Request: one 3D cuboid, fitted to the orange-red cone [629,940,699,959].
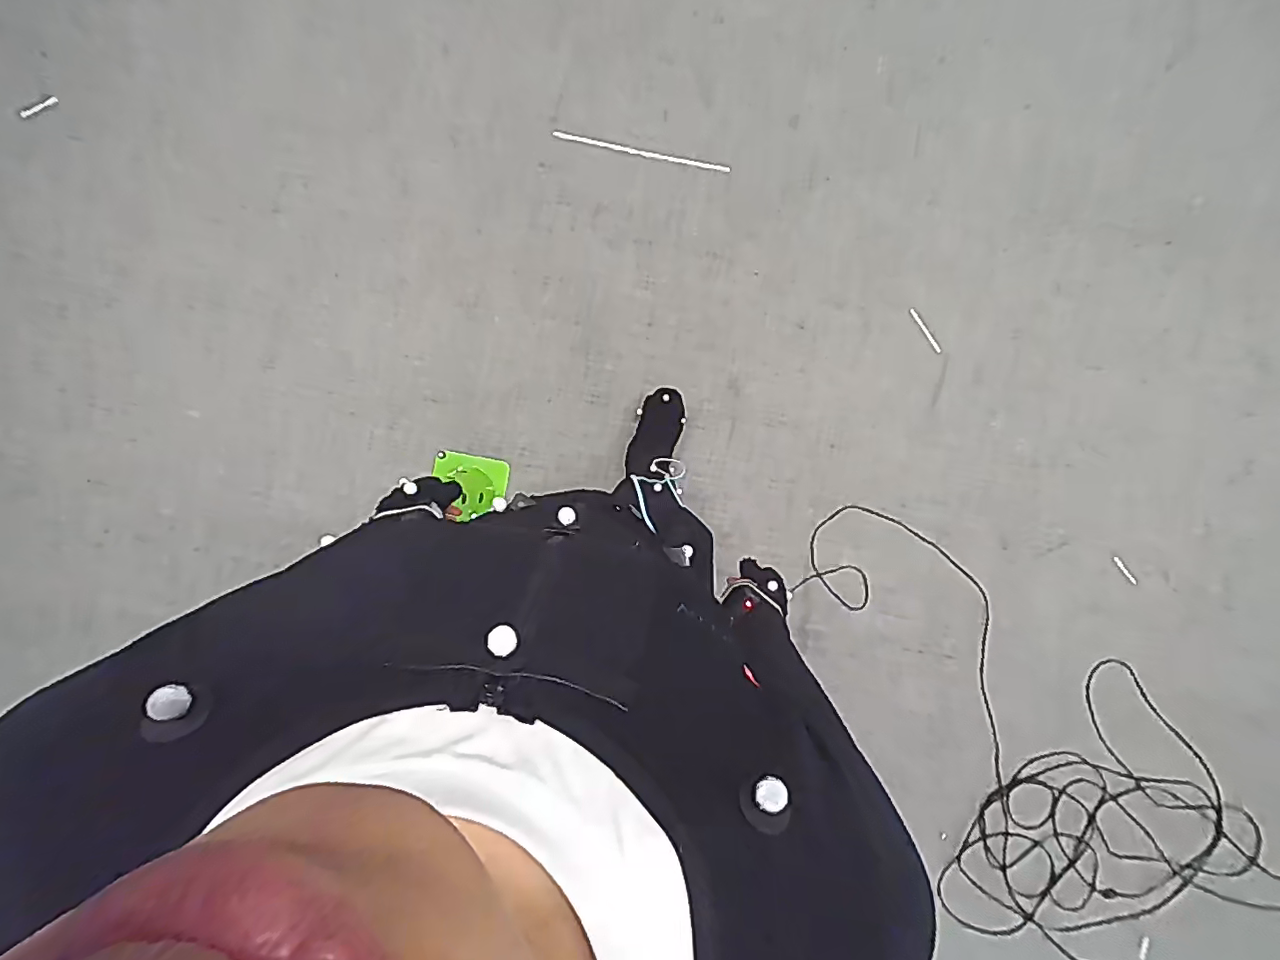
[{"bbox_3d":[0.064,1.392,1.338,0.198,0.360,0.199,12,90,-3],"label":"orange-red cone"}]

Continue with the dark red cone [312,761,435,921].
[{"bbox_3d":[-0.649,0.857,1.278,0.202,0.394,0.201,6,93,-2],"label":"dark red cone"}]

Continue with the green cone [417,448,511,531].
[{"bbox_3d":[-0.450,0.033,1.282,0.202,0.368,0.200,10,92,-3],"label":"green cone"}]
